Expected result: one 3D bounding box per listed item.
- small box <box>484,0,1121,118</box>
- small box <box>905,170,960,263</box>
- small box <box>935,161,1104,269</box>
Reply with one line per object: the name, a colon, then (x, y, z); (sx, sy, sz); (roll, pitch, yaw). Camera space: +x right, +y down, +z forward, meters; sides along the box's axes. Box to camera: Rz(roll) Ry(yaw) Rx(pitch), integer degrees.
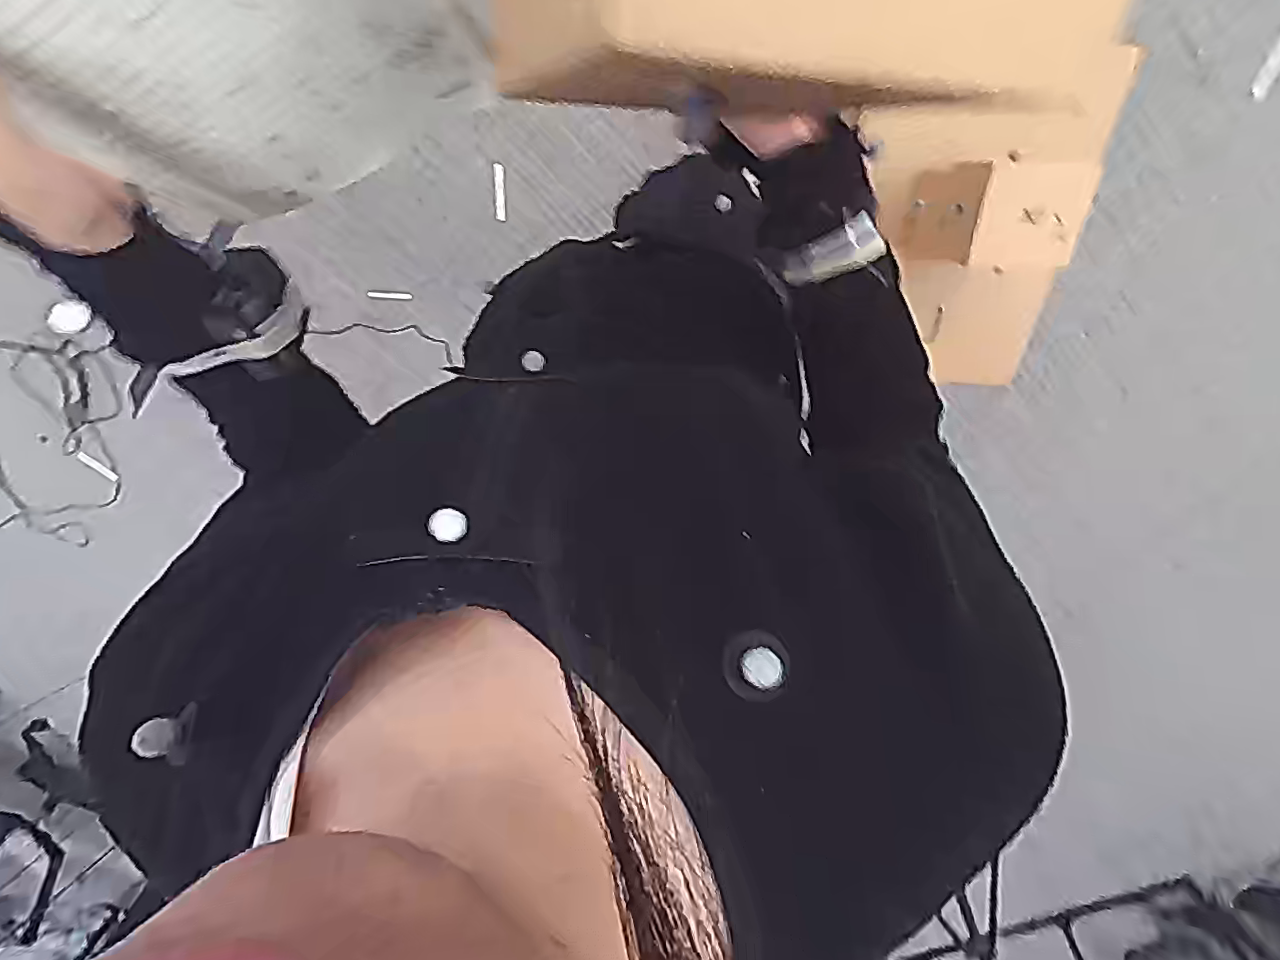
small box: (0.037, -0.222, 0.167); (0.168, 0.176, 0.179); (-9, 122, -18)
small box: (0.689, -0.558, 1.138); (0.179, 0.176, 0.168); (1, 120, 6)
small box: (0.673, -0.487, 0.989); (0.179, 0.176, 0.168); (2, 121, 4)
